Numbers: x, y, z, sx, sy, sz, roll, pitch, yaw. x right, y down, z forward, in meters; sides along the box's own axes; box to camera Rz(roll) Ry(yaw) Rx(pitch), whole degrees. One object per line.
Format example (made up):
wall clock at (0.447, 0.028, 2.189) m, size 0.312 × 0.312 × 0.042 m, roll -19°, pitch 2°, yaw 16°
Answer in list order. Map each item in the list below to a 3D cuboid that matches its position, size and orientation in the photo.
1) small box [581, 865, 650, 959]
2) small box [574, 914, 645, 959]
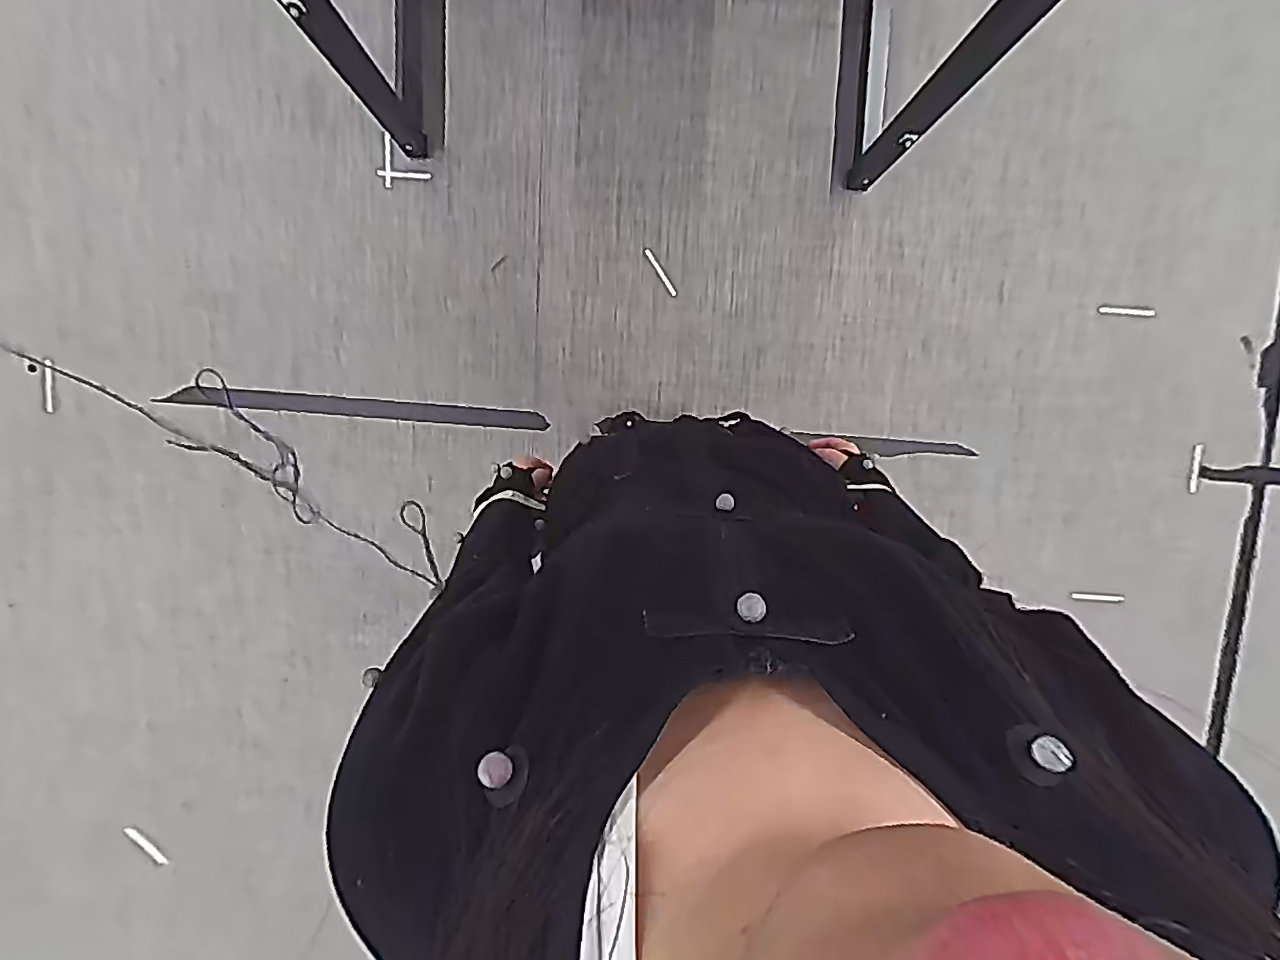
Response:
small box at (-0.069, 1.229, 1.524) m, size 0.168 × 0.176 × 0.179 m, roll -10°, pitch 96°, yaw -1°
small box at (-0.070, 1.253, 1.361) m, size 0.168 × 0.176 × 0.179 m, roll -10°, pitch 97°, yaw -2°
